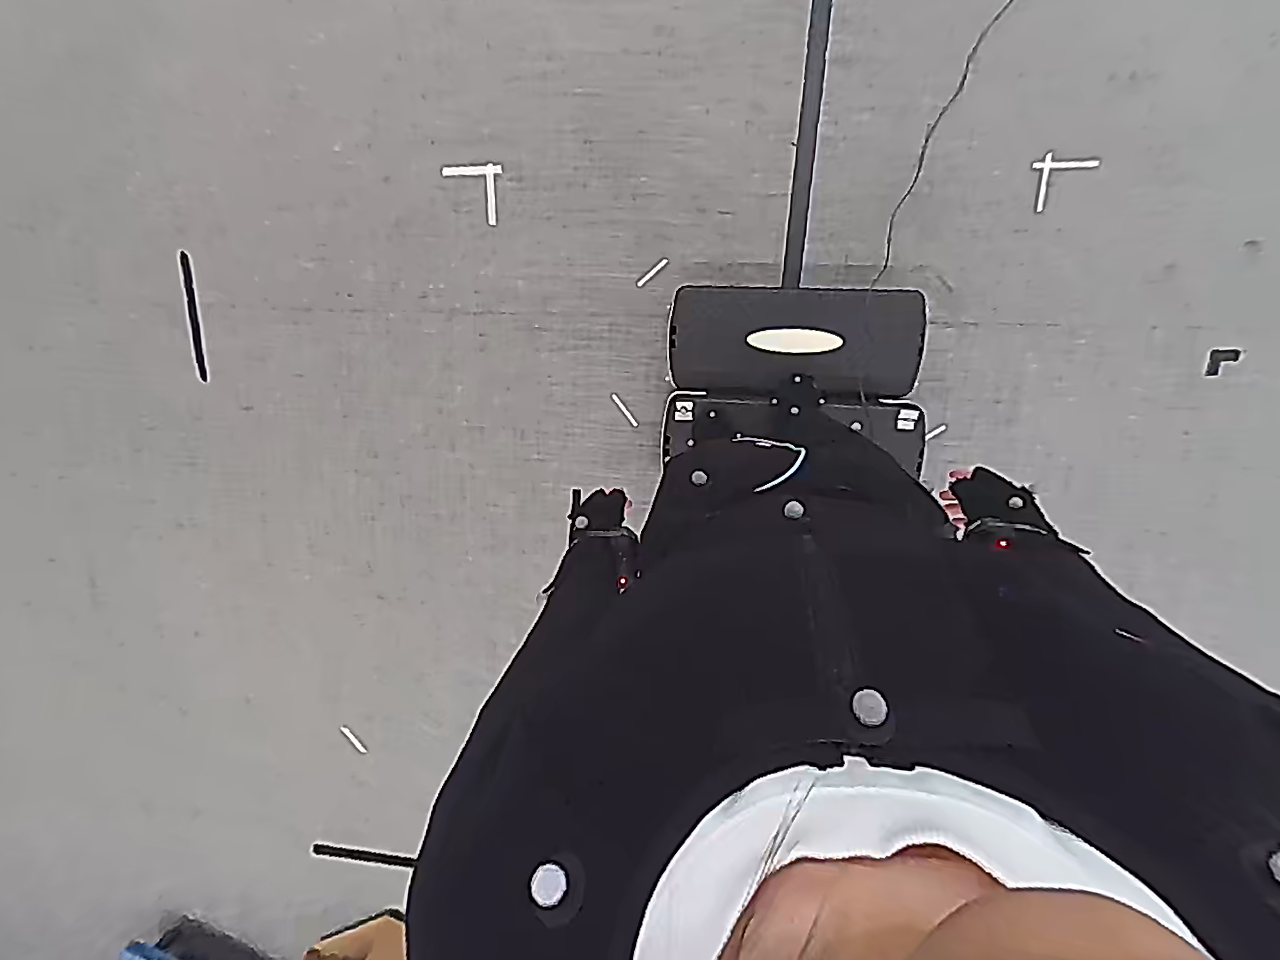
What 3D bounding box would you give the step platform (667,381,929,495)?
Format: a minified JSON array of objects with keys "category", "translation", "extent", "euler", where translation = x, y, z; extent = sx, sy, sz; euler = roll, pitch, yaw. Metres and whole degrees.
[{"category":"step platform","translation":[0.414,-0.121,1.492],"extent":[0.684,0.204,0.286],"euler":[3,102,7]}]
